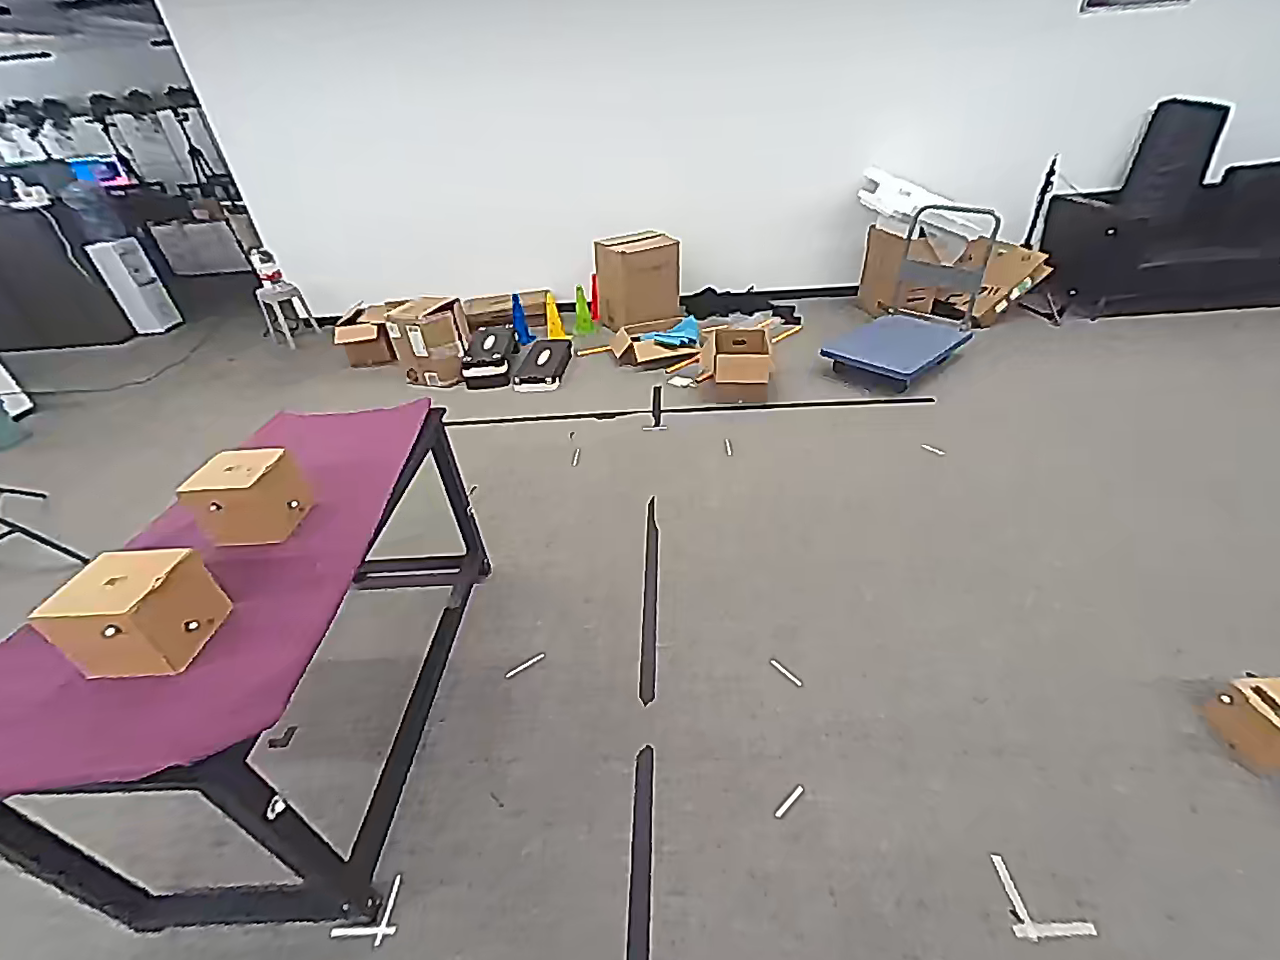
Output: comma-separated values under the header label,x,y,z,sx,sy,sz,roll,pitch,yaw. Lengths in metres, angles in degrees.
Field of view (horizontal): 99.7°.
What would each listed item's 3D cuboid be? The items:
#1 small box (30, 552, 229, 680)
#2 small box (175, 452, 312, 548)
label,x,y,z,sx,sy,sz,roll,pitch,yaw
small box,-0.935,0.255,1.012,0.179,0.176,0.168,-3,35,1
small box,-0.939,0.050,1.300,0.179,0.176,0.168,-3,36,2
